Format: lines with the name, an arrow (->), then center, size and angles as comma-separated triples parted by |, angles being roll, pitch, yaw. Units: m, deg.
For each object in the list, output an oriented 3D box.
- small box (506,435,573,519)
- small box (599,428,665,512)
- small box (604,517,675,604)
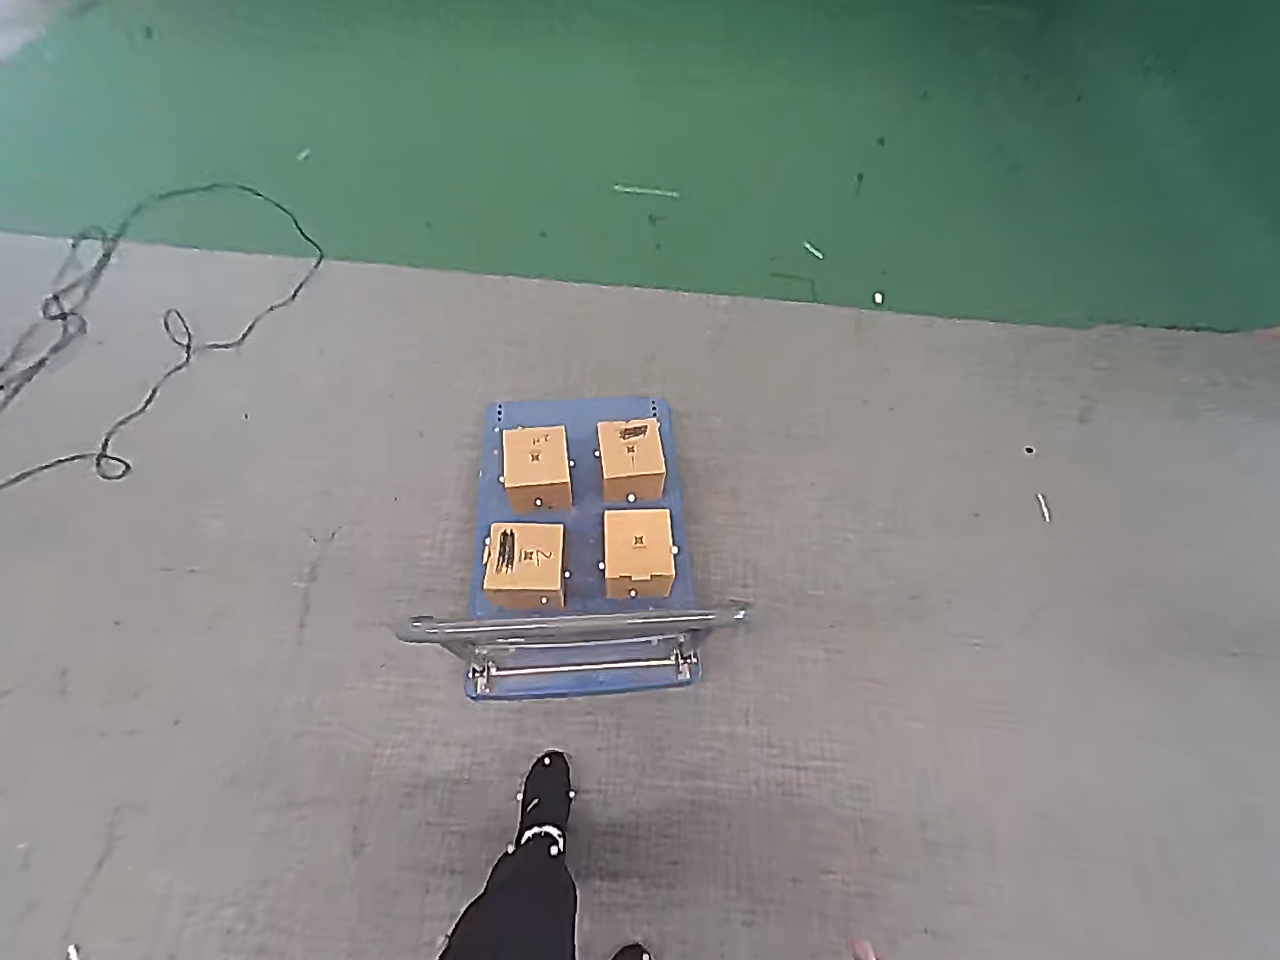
small box -> -0.277, -0.002, 1.499 | 0.168, 0.176, 0.179 | -5, 61, -7
small box -> -0.028, -0.026, 1.530 | 0.168, 0.176, 0.179 | -5, 62, -6
small box -> -0.008, 0.210, 1.399 | 0.168, 0.176, 0.179 | -1, 61, -5
